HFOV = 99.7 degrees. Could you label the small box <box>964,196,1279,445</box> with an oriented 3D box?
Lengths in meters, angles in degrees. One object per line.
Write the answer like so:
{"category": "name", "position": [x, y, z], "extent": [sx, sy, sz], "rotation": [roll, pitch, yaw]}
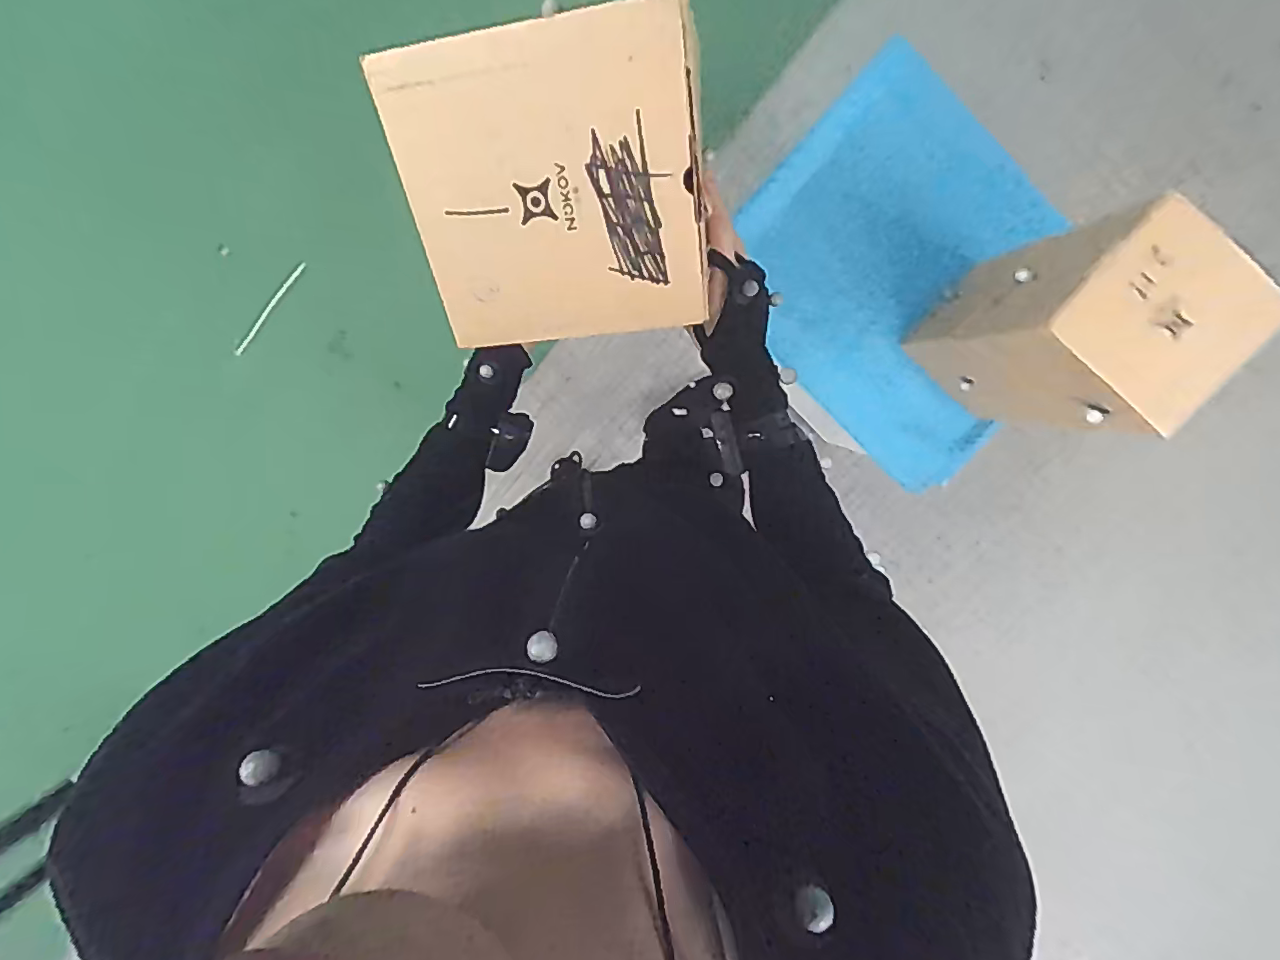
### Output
{"category": "small box", "position": [0.514, -0.162, 0.595], "extent": [0.179, 0.176, 0.168], "rotation": [41, 98, -4]}

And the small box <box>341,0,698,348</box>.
{"category": "small box", "position": [-0.053, -0.207, 0.375], "extent": [0.179, 0.176, 0.168], "rotation": [-3, 124, 10]}
